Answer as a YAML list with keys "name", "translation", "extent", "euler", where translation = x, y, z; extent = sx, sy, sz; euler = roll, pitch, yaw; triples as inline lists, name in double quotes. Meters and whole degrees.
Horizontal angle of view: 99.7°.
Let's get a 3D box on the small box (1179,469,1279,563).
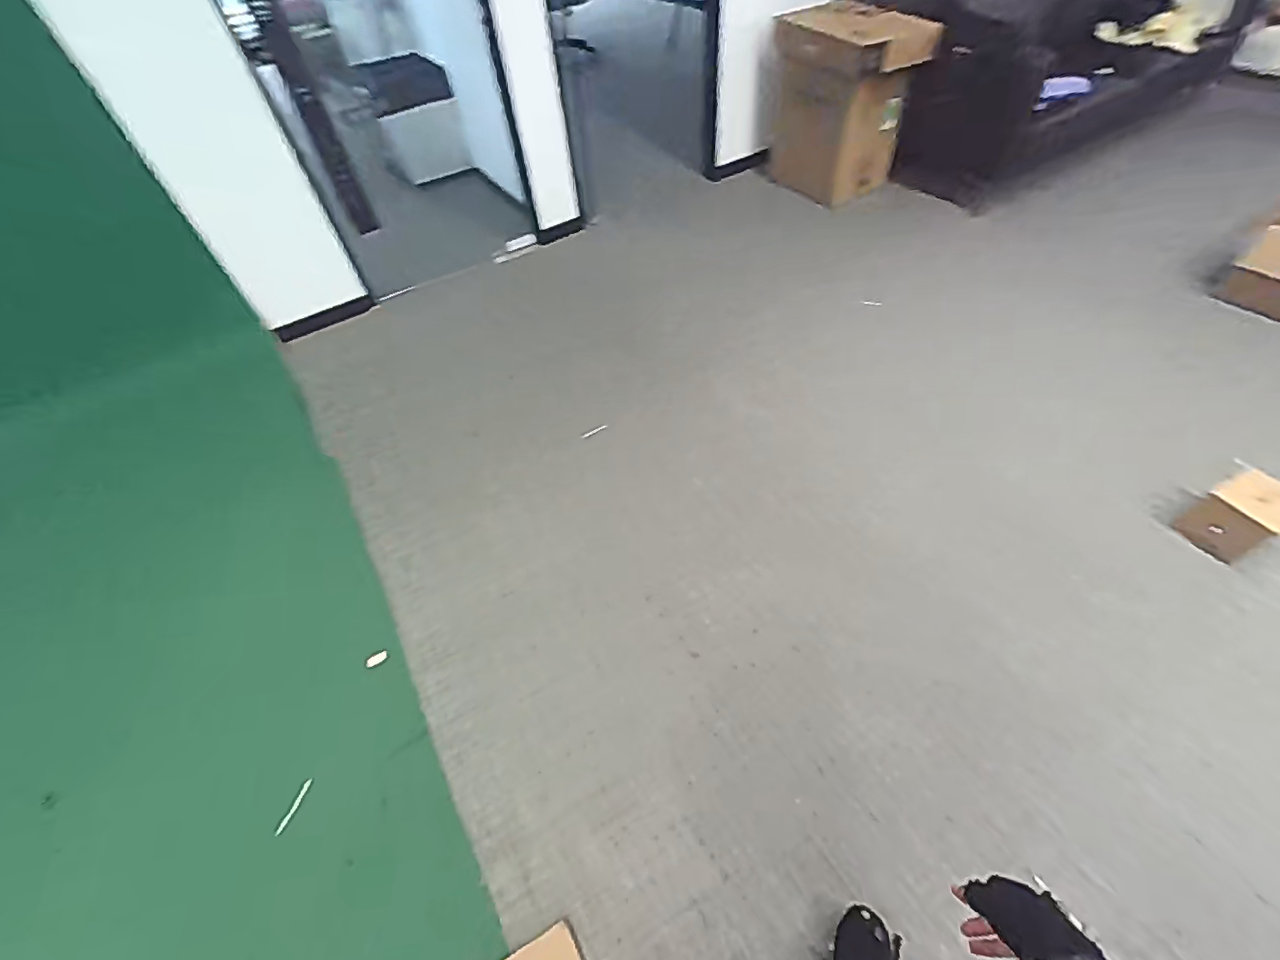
- name: "small box"
  translation: [1.701, 0.105, 1.531]
  extent: [0.179, 0.176, 0.168]
  euler: [-24, 53, -13]
